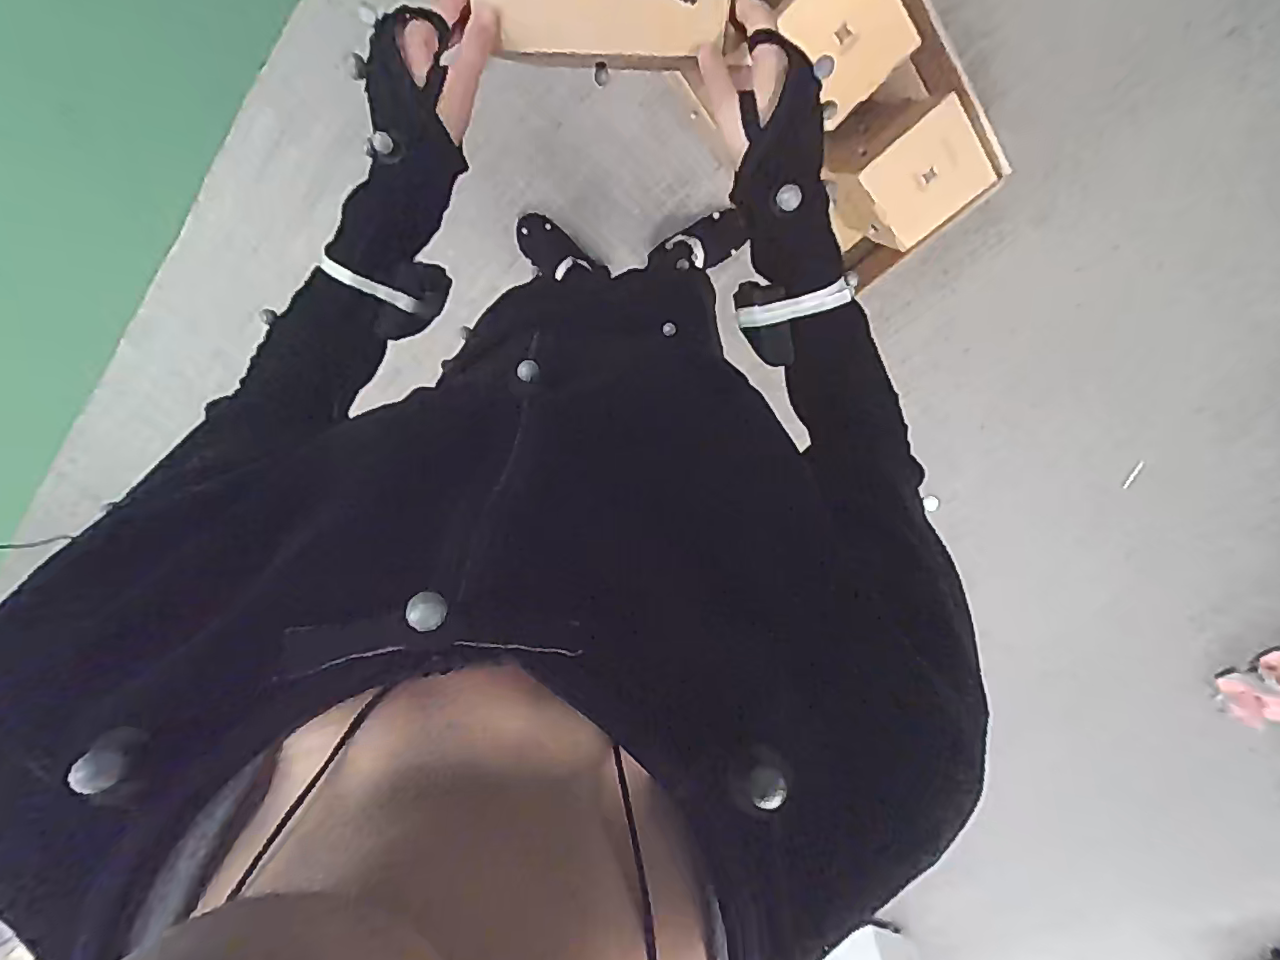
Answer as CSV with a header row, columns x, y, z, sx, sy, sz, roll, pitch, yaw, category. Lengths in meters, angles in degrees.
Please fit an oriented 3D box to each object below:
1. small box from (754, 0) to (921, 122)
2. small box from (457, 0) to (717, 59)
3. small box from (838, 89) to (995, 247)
x,y,z,sx,sy,sz,roll,pitch,yaw,category
0.307,-0.714,0.876,0.168,0.176,0.179,-39,115,21,small box
-0.029,-0.415,0.388,0.179,0.176,0.168,4,125,5,small box
0.480,-0.553,0.971,0.179,0.176,0.168,-36,114,20,small box
